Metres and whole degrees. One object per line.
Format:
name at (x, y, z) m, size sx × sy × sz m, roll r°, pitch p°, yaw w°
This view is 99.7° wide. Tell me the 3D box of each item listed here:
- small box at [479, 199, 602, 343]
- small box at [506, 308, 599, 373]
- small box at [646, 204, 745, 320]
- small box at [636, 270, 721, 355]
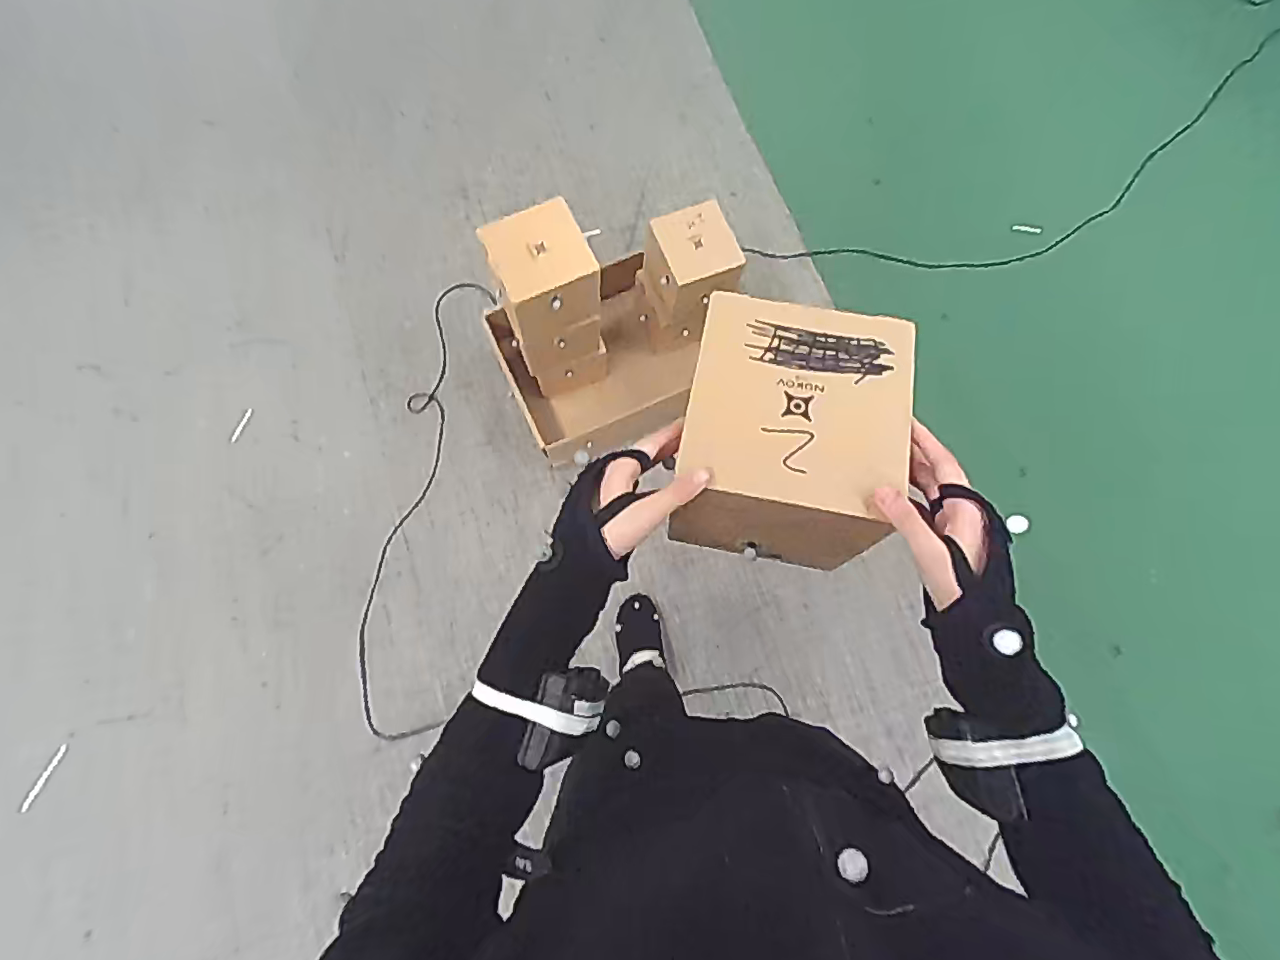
small box at (-0.187, -0.398, 1.053) m, size 0.179 × 0.176 × 0.168 m, roll -26°, pitch 81°, yaw -8°
small box at (-0.198, -0.362, 1.210) m, size 0.179 × 0.176 × 0.168 m, roll -20°, pitch 80°, yaw -9°
small box at (0.121, -0.496, 1.260) m, size 0.168 × 0.176 × 0.179 m, roll -21°, pitch 78°, yaw -9°
small box at (0.097, -0.453, 1.418) m, size 0.179 × 0.176 × 0.168 m, roll -21°, pitch 79°, yaw -7°
